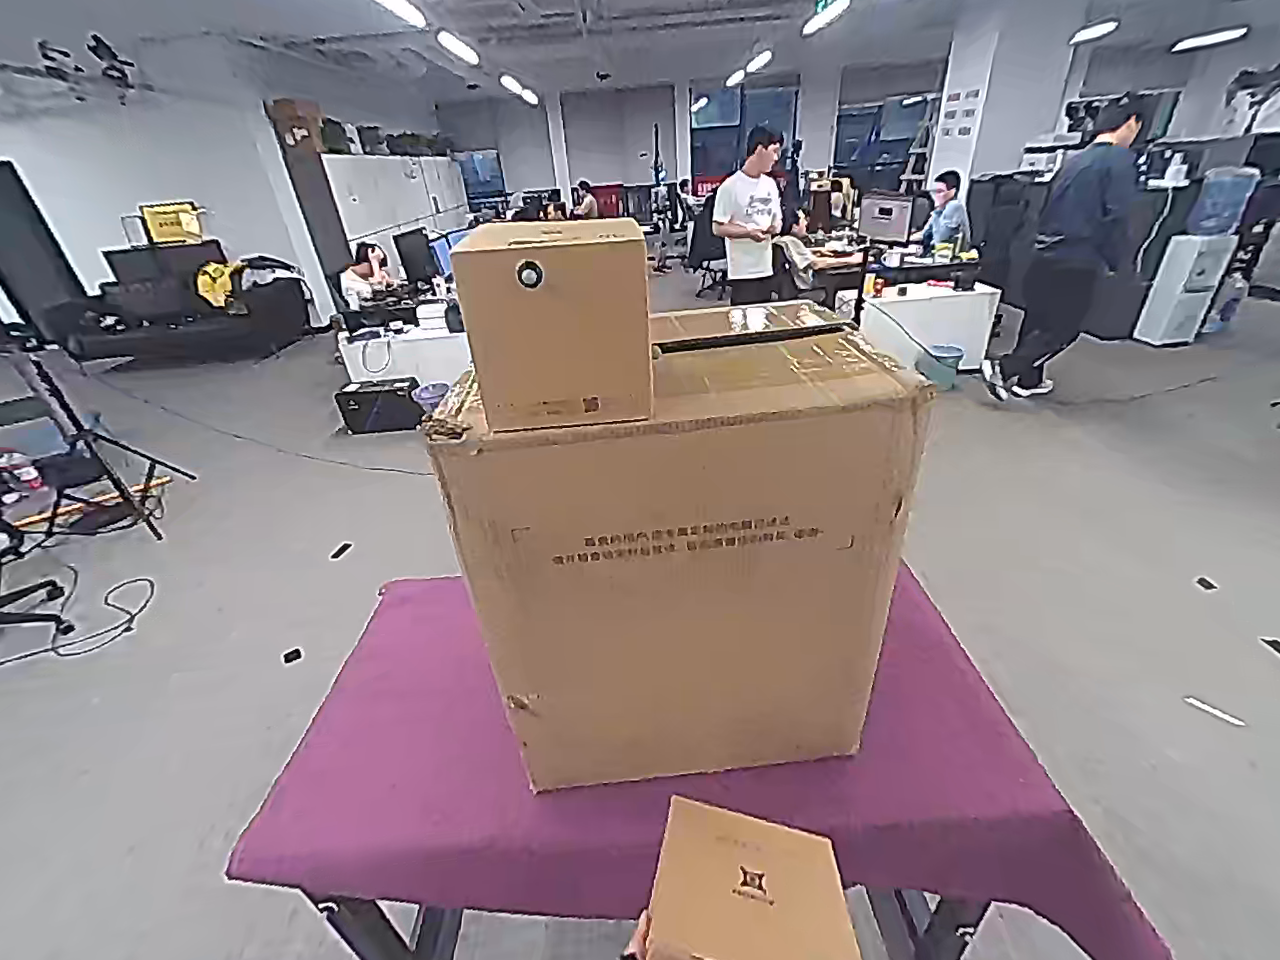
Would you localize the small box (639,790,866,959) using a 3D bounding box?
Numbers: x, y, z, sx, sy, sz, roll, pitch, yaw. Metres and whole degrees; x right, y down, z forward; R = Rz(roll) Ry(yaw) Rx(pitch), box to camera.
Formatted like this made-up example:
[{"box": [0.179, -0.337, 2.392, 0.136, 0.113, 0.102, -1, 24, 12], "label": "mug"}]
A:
[{"box": [0.085, 0.422, 0.473, 0.168, 0.176, 0.179, 12, 4, 8], "label": "small box"}]

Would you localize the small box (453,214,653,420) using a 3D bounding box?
[{"box": [-0.076, -0.173, 0.559, 0.168, 0.176, 0.179, -5, 31, -2], "label": "small box"}]
